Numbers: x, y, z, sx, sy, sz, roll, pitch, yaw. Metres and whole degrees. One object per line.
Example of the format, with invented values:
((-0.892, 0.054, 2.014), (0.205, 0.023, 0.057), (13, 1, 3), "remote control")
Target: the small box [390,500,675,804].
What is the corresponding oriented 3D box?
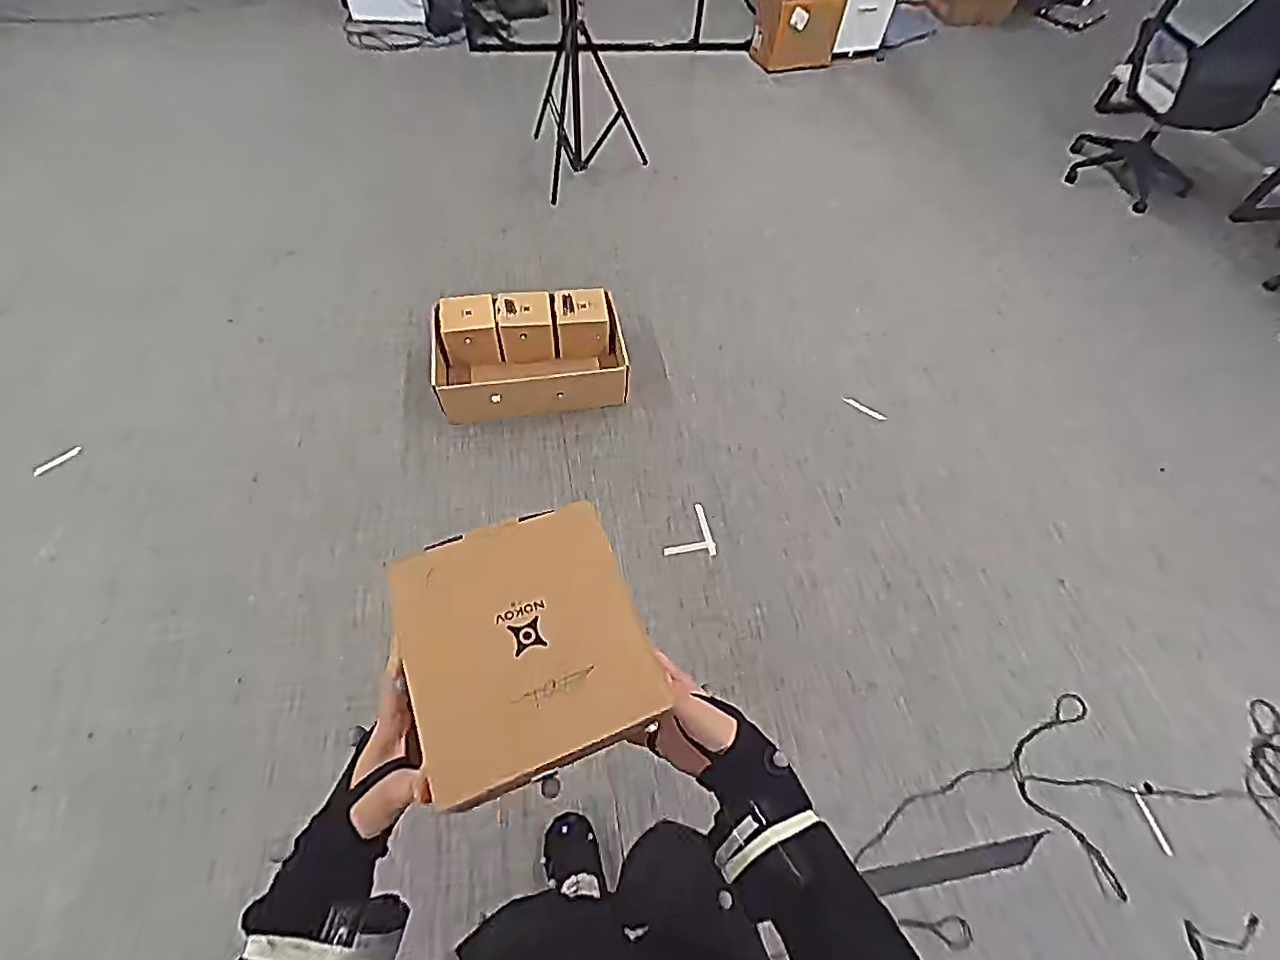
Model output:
((-0.093, 0.147, 0.453), (0.168, 0.176, 0.179), (-15, 63, -19), "small box")
